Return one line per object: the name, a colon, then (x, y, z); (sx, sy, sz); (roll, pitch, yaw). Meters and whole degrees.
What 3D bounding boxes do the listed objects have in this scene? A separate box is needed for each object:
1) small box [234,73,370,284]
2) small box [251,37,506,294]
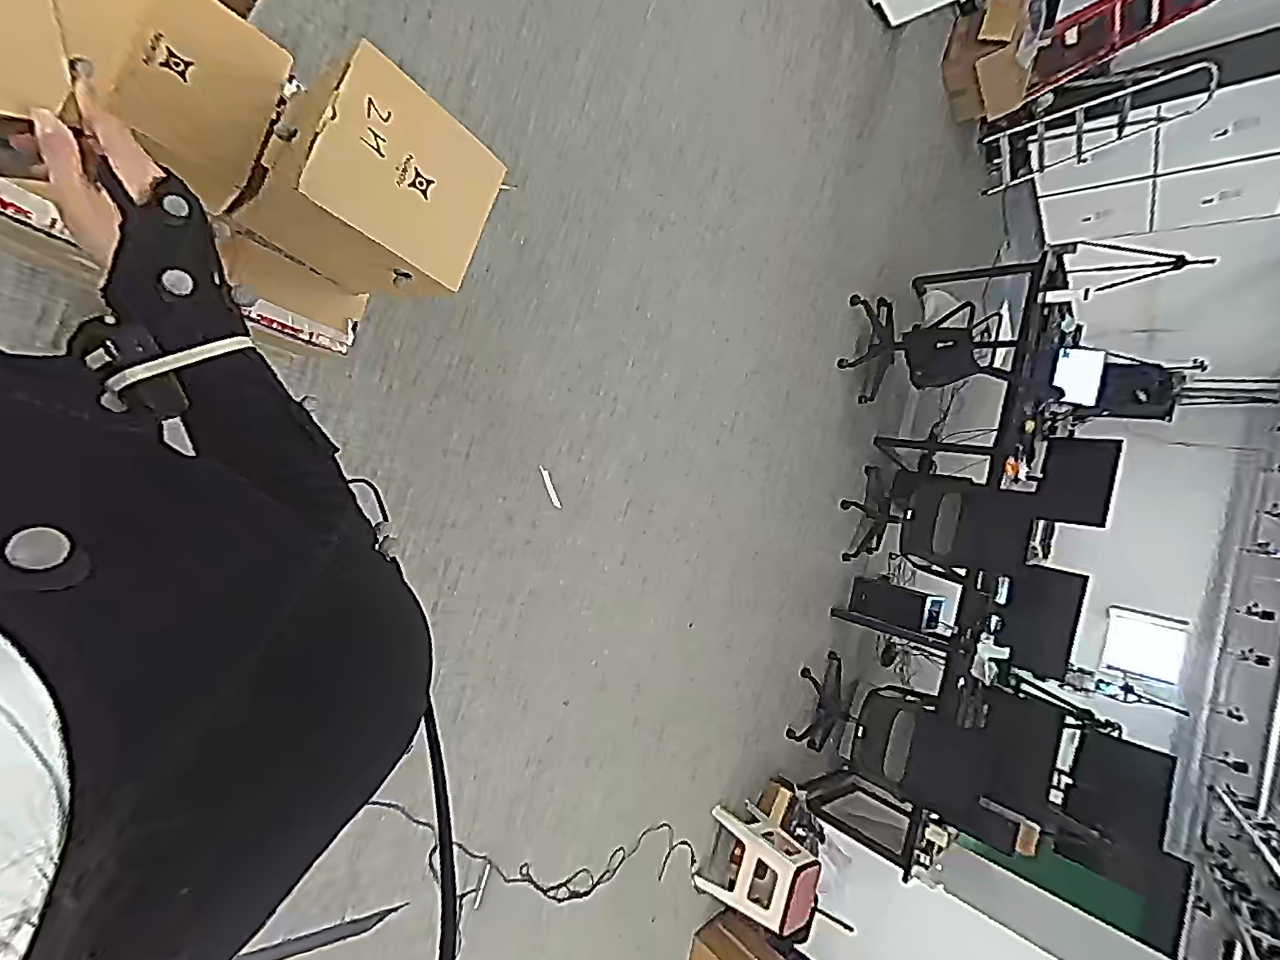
small box: (-0.401, -0.380, 0.724); (0.179, 0.176, 0.168); (31, 77, -47)
small box: (-0.292, -0.329, 0.608); (0.179, 0.176, 0.168); (27, 80, -48)
